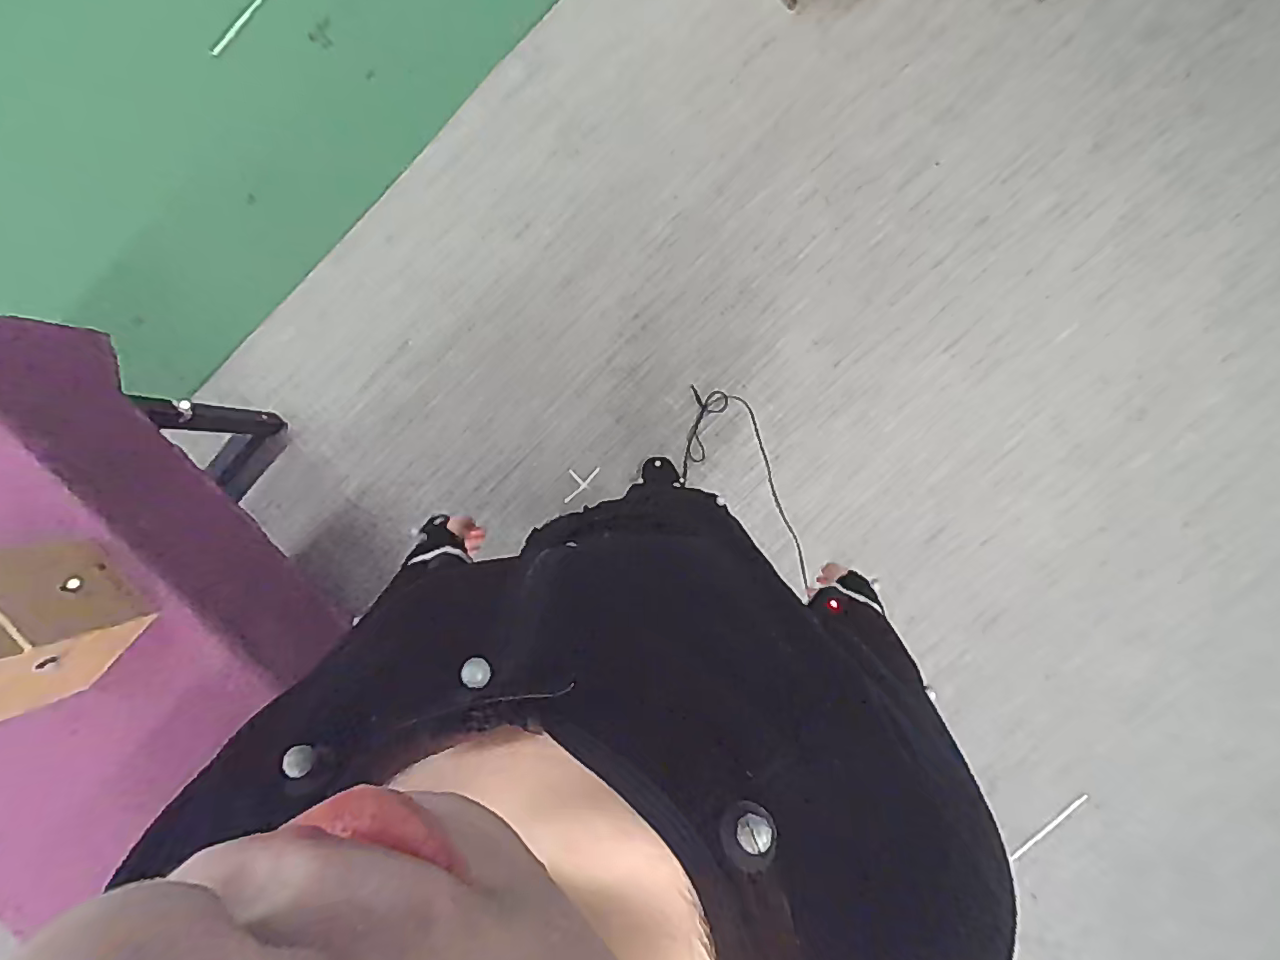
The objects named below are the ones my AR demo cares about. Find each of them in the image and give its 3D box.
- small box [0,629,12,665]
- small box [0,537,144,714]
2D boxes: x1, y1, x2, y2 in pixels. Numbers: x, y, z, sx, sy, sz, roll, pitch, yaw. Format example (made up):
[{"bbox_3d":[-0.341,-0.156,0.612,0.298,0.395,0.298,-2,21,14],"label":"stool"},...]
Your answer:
[{"bbox_3d":[-0.878,0.201,0.590,0.168,0.176,0.179,-44,88,4],"label":"small box"},{"bbox_3d":[-0.859,0.199,0.754,0.179,0.176,0.168,-44,88,4],"label":"small box"}]
